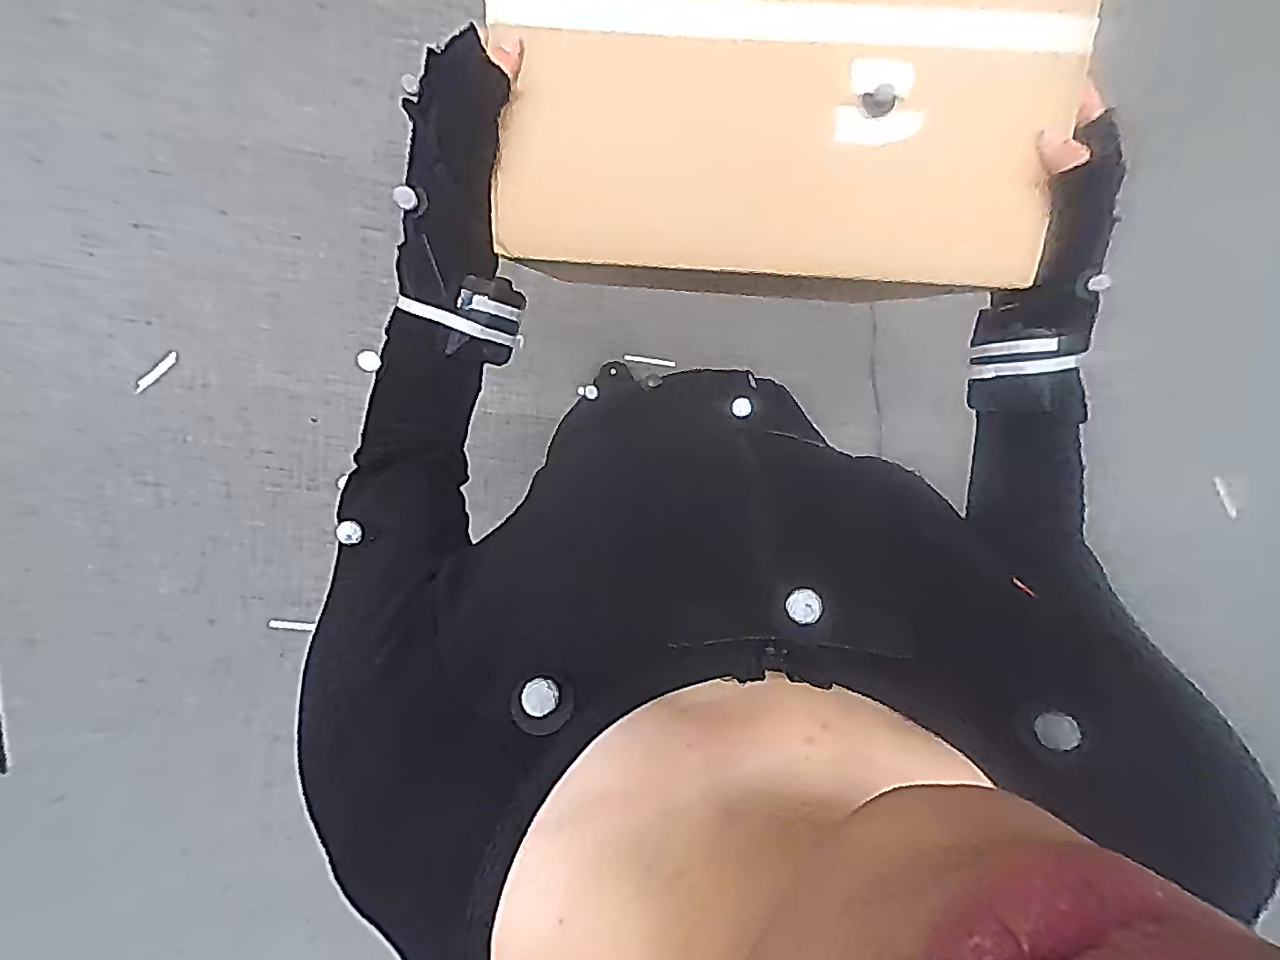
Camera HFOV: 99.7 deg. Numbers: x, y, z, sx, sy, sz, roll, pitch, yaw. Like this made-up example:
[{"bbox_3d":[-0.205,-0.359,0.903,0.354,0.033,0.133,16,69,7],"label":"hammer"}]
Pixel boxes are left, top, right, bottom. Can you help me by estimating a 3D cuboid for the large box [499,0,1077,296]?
[{"bbox_3d":[0.099,-0.354,0.519,0.408,0.320,0.320,3,106,0],"label":"large box"}]
